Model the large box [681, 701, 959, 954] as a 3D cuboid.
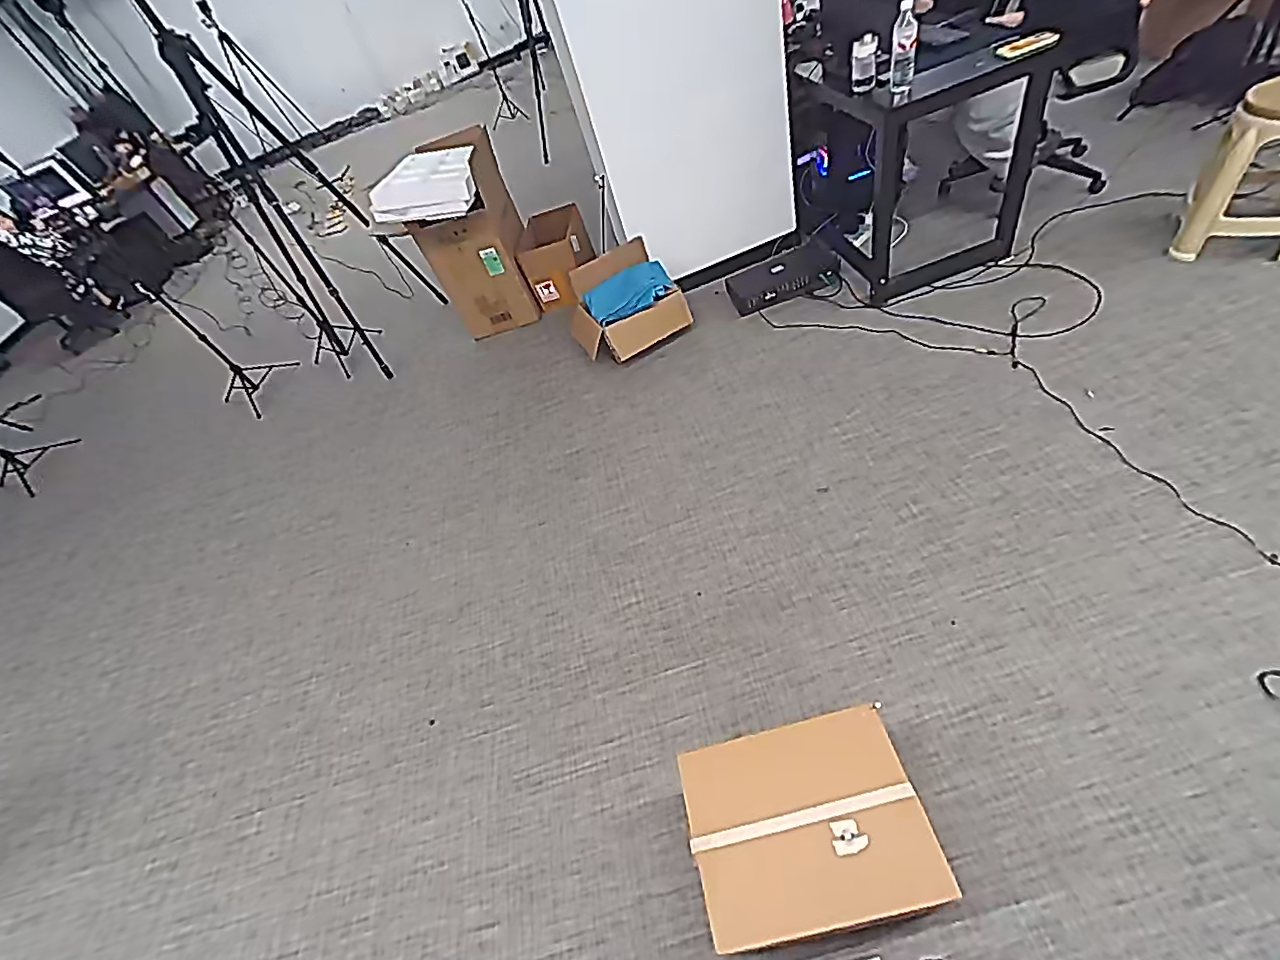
[{"bbox_3d":[0.334,0.698,1.079,0.408,0.320,0.320,-18,47,5],"label":"large box"}]
